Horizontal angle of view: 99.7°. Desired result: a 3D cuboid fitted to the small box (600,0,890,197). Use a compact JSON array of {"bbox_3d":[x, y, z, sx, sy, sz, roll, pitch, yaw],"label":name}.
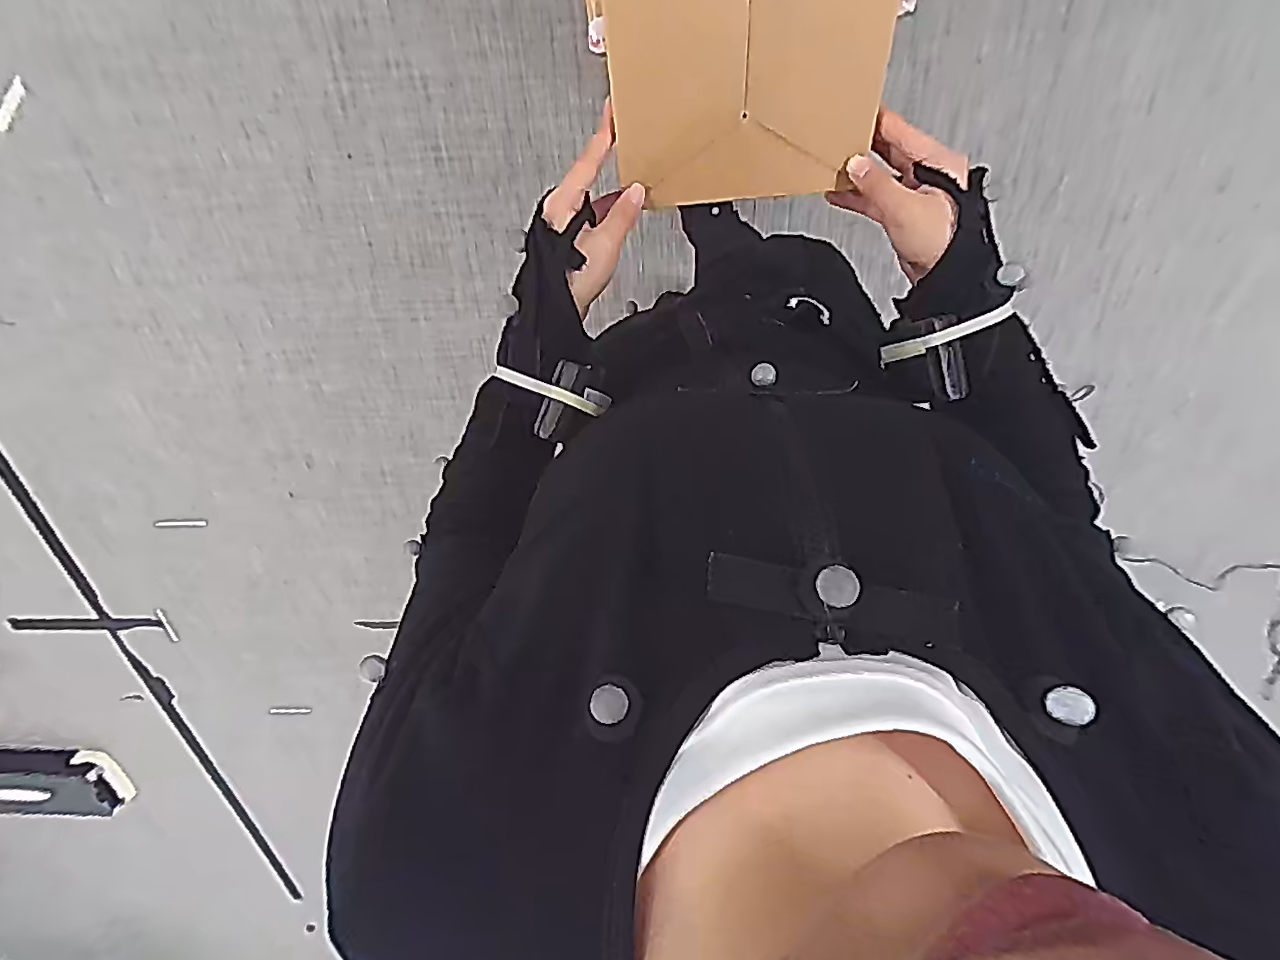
[{"bbox_3d":[0.063,-0.325,0.394,0.179,0.176,0.168,-4,137,3],"label":"small box"}]
